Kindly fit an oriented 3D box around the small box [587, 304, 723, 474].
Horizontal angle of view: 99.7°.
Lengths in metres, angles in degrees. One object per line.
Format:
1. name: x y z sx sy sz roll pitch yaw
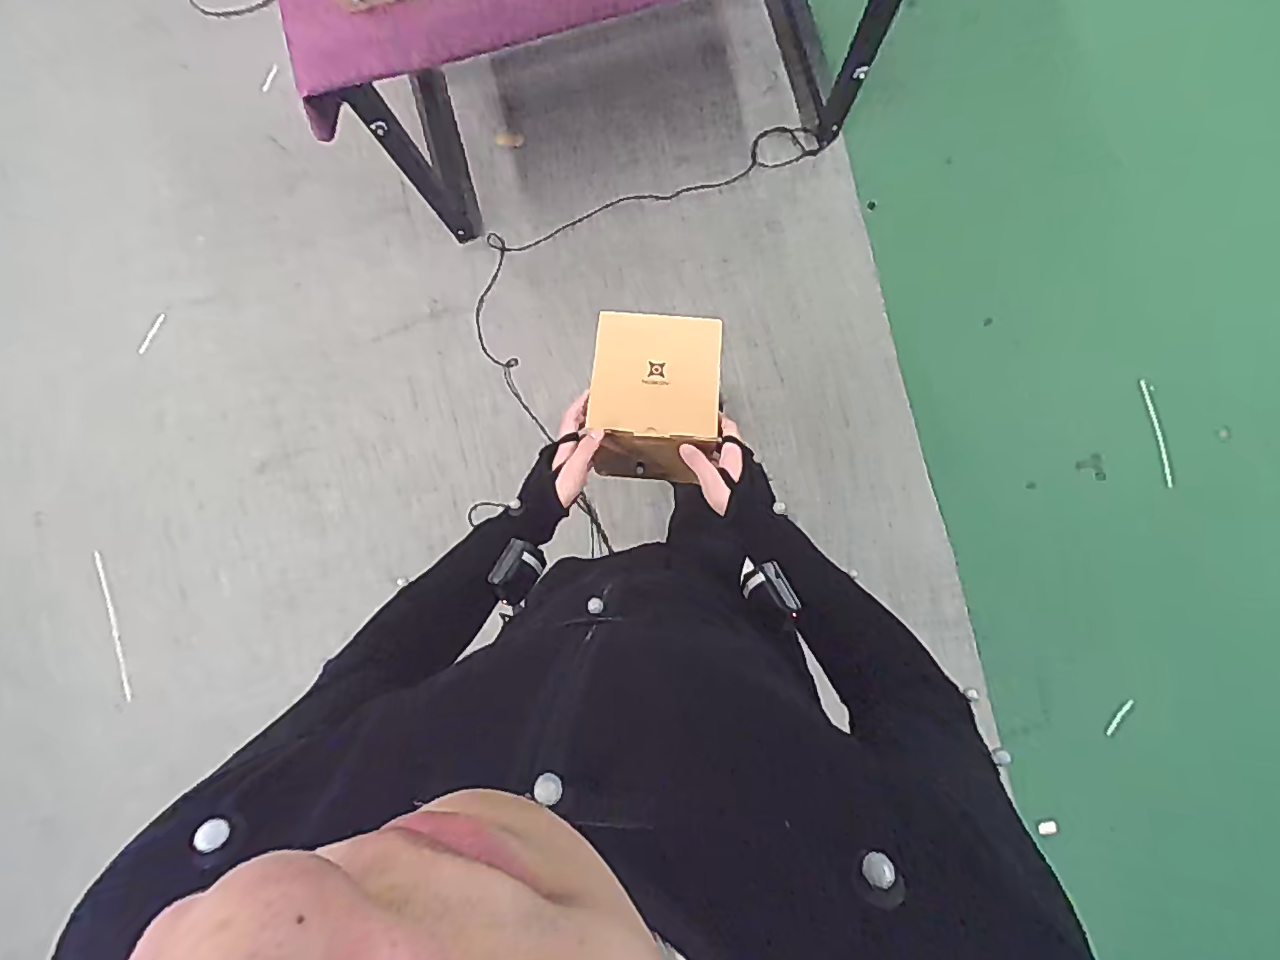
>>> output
1. small box: 0.020 -0.121 0.764 0.168 0.176 0.179 4 73 0
